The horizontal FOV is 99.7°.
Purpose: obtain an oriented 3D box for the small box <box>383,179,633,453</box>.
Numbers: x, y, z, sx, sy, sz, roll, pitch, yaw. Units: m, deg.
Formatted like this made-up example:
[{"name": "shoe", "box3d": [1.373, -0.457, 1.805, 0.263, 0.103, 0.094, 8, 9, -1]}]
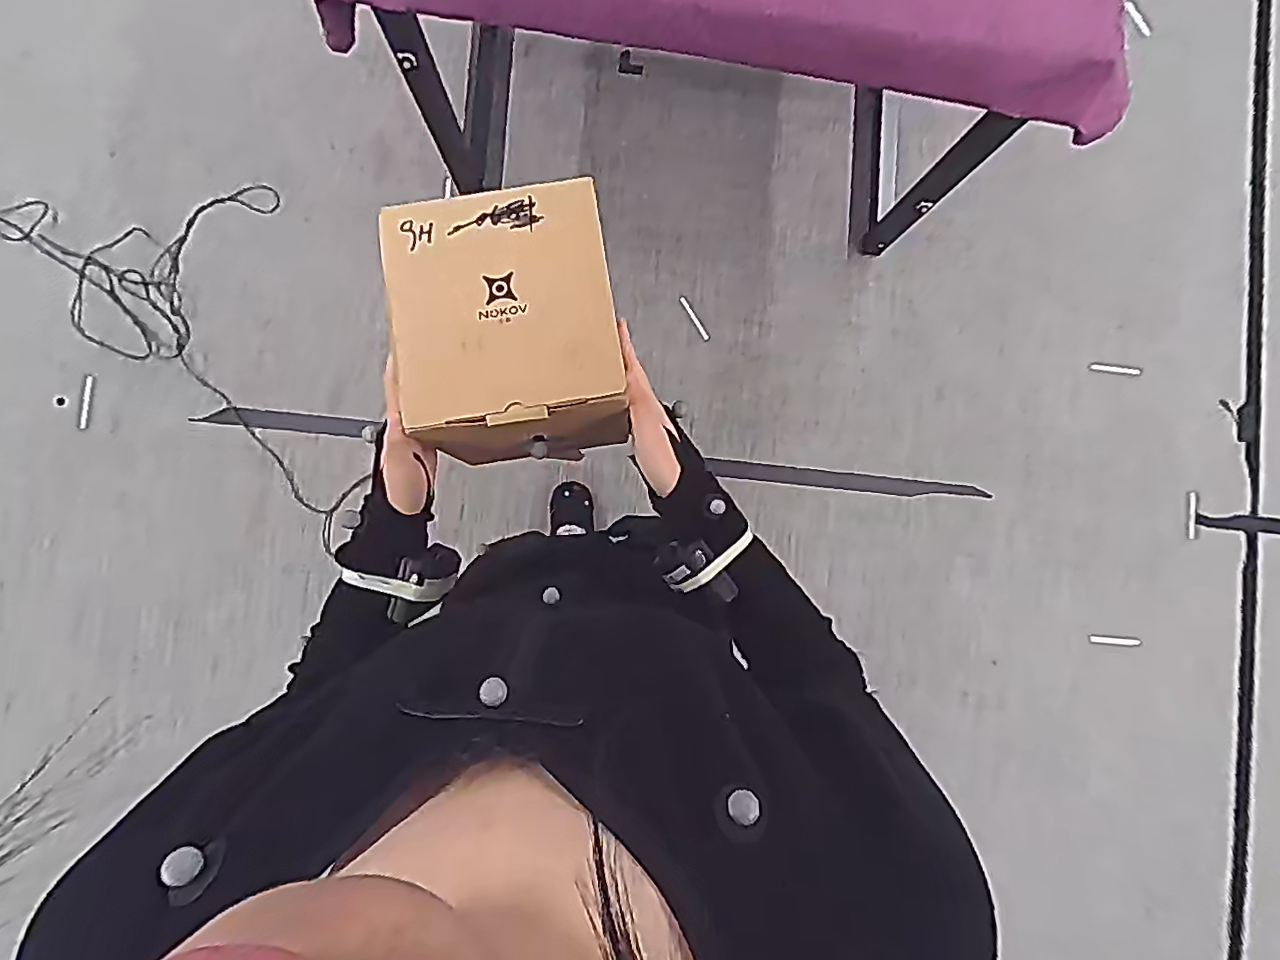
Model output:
[{"name": "small box", "box3d": [-0.099, -0.124, 0.482, 0.168, 0.176, 0.179, -11, 85, -2]}]
